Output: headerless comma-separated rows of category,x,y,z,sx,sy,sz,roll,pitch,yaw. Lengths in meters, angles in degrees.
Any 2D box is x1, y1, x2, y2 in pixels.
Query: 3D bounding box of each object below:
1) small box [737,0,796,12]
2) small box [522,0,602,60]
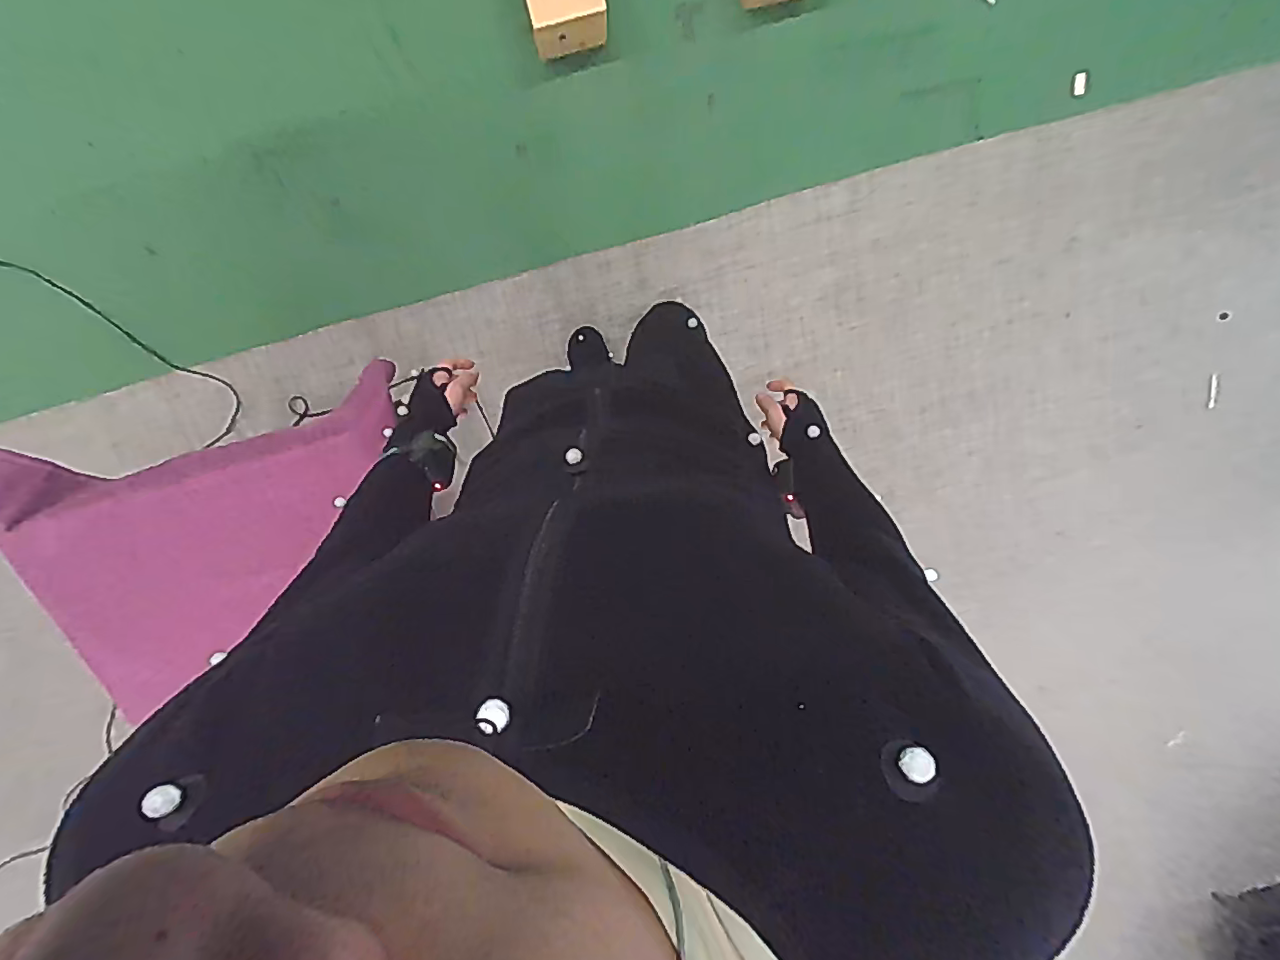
small box,0.305,-1.209,1.211,0.168,0.176,0.179,-14,108,0
small box,-0.182,-1.083,1.212,0.168,0.176,0.179,-15,107,0
